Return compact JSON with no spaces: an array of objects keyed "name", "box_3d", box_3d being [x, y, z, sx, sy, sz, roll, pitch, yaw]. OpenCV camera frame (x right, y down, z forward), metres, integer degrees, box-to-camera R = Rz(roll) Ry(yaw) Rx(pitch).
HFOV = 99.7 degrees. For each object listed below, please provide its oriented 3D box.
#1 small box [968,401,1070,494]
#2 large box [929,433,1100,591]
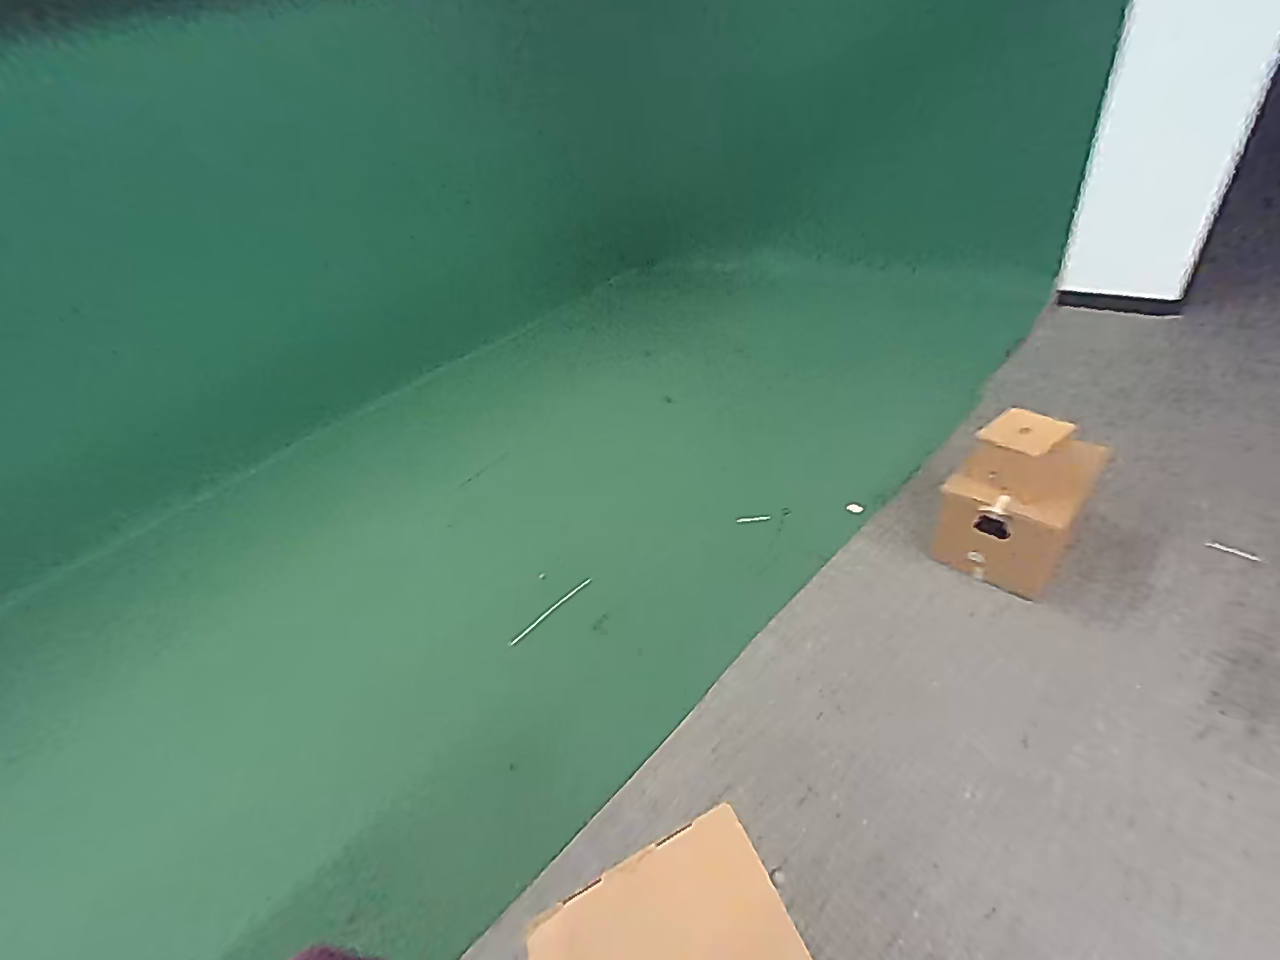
[{"name":"small box","box_3d":[1.062,-0.092,1.530,0.179,0.176,0.168,-32,39,-17]},{"name":"large box","box_3d":[1.159,0.066,1.698,0.408,0.320,0.320,-39,43,-26]}]
